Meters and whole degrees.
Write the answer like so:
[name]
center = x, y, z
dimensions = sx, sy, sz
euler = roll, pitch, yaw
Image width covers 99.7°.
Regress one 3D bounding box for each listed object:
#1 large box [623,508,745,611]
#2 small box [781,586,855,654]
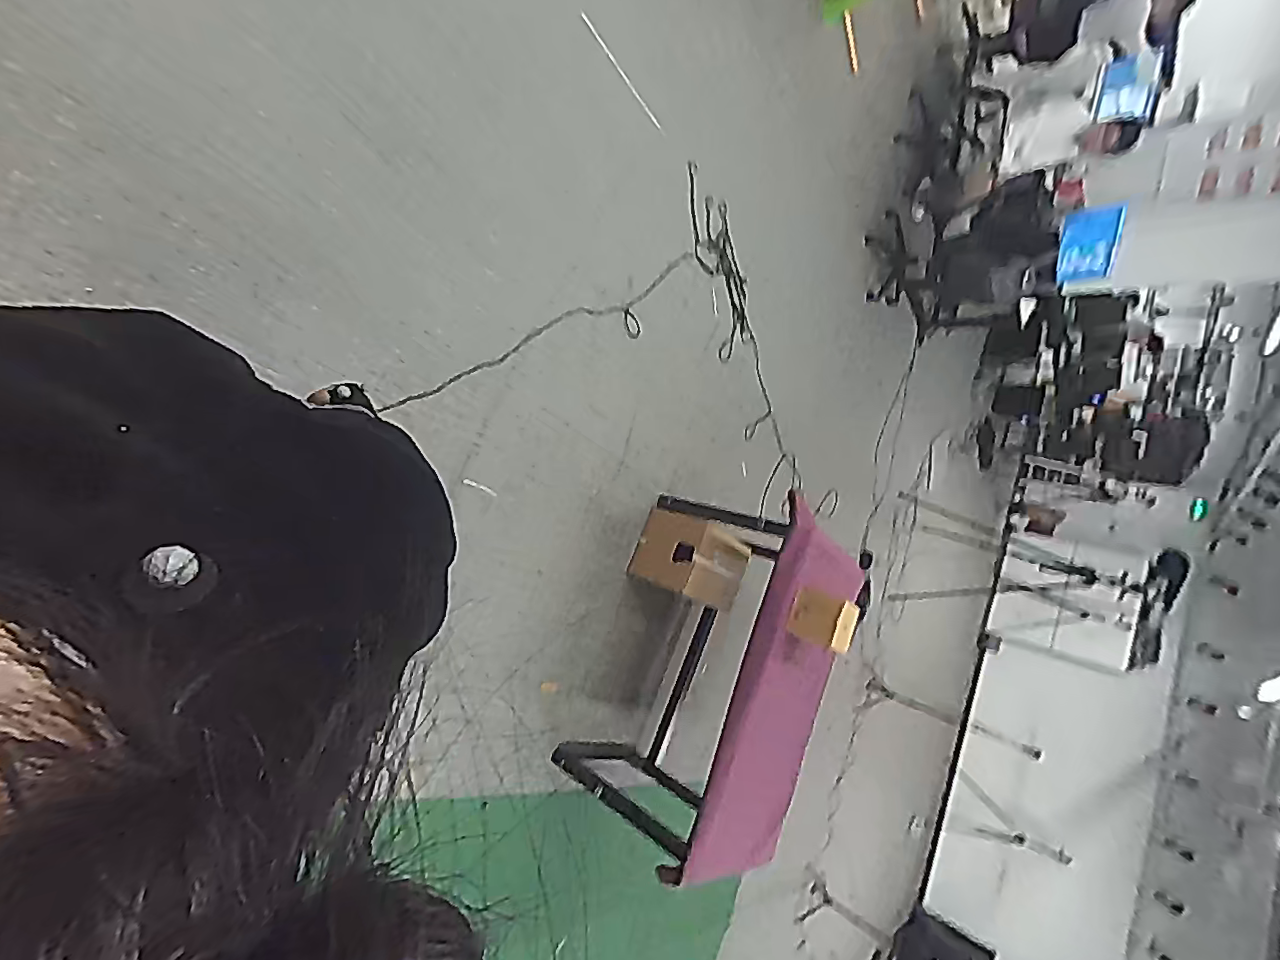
[large box]
center = 0.200, 0.352, 2.390
dimensions = 0.408, 0.320, 0.320
euler = 33, 75, -45
[small box]
center = 0.621, 0.487, 1.889
dimensions = 0.179, 0.176, 0.168
euler = 34, 74, -47
